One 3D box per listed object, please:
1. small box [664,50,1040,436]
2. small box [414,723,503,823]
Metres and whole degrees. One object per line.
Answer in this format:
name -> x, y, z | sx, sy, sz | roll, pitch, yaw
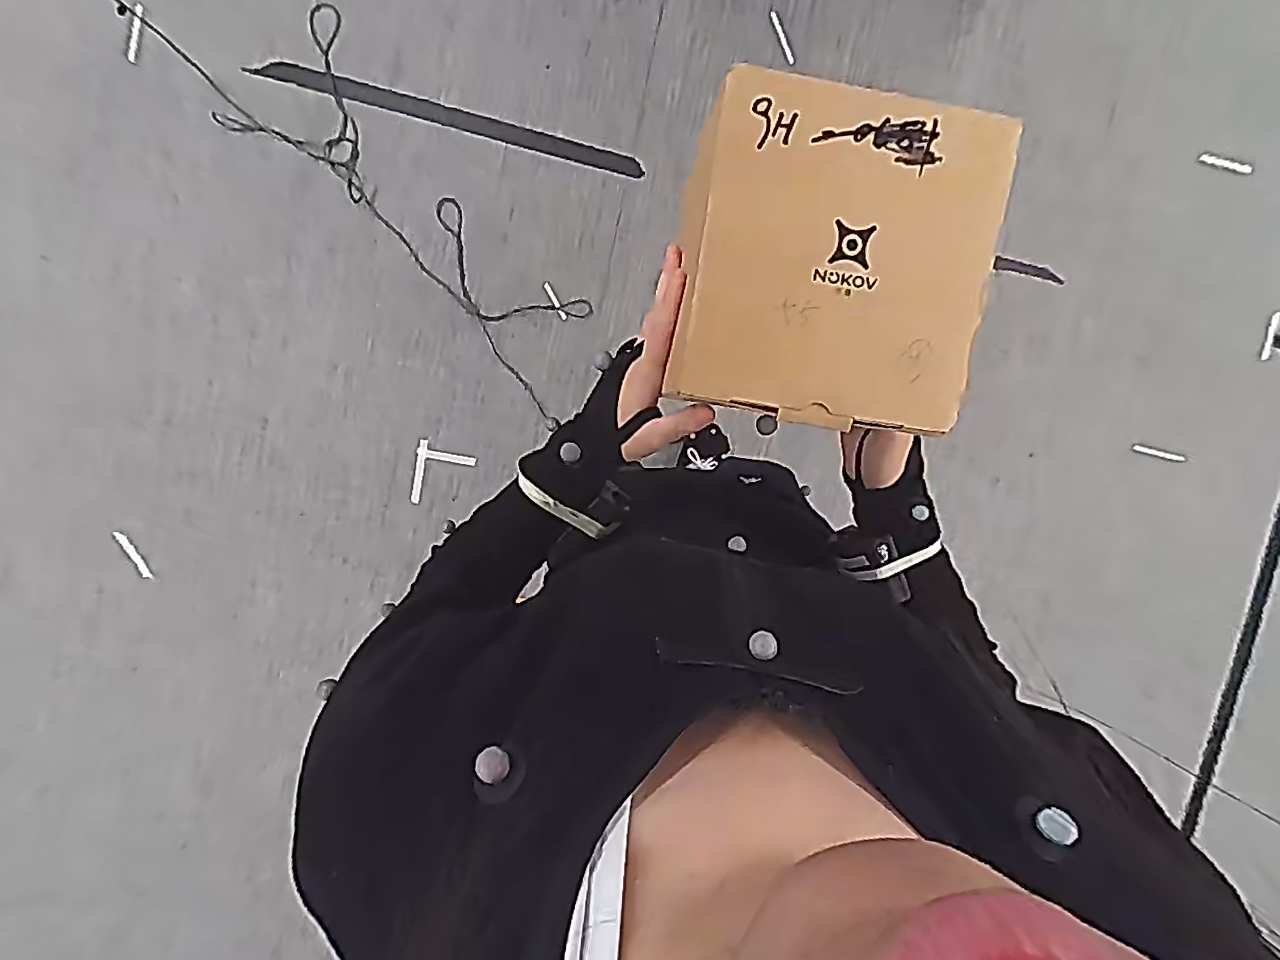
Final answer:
small box -> 0.113, -0.135, 0.370 | 0.168, 0.176, 0.179 | 8, 100, -5
small box -> -0.473, 0.764, 1.428 | 0.179, 0.176, 0.168 | 7, 95, -4
